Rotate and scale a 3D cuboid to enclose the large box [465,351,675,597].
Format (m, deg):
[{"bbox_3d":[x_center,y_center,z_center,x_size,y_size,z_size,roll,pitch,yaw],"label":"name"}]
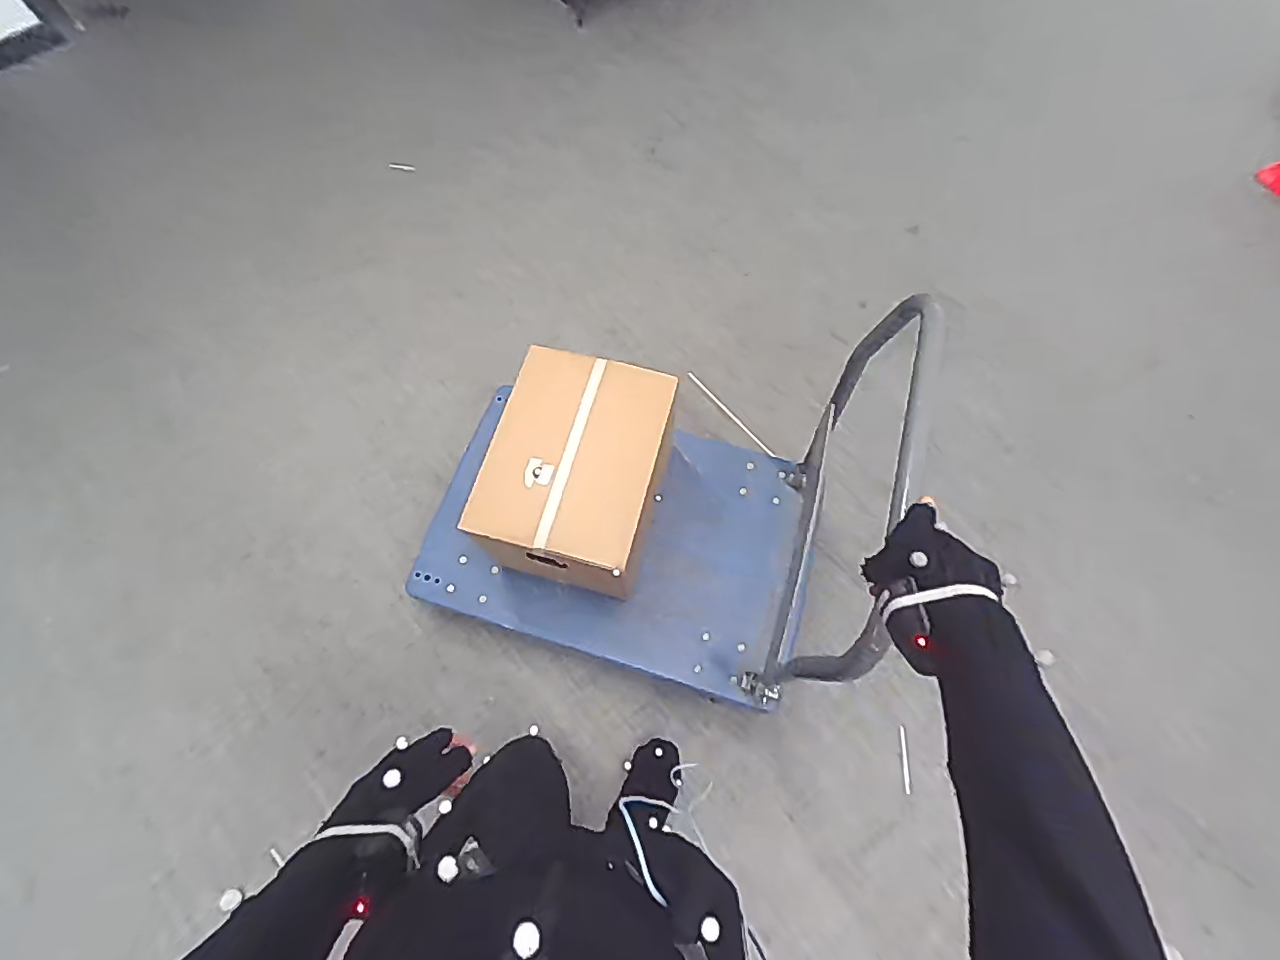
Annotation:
[{"bbox_3d":[-0.121,-0.001,1.163,0.320,0.320,0.408,14,70,7],"label":"large box"}]
